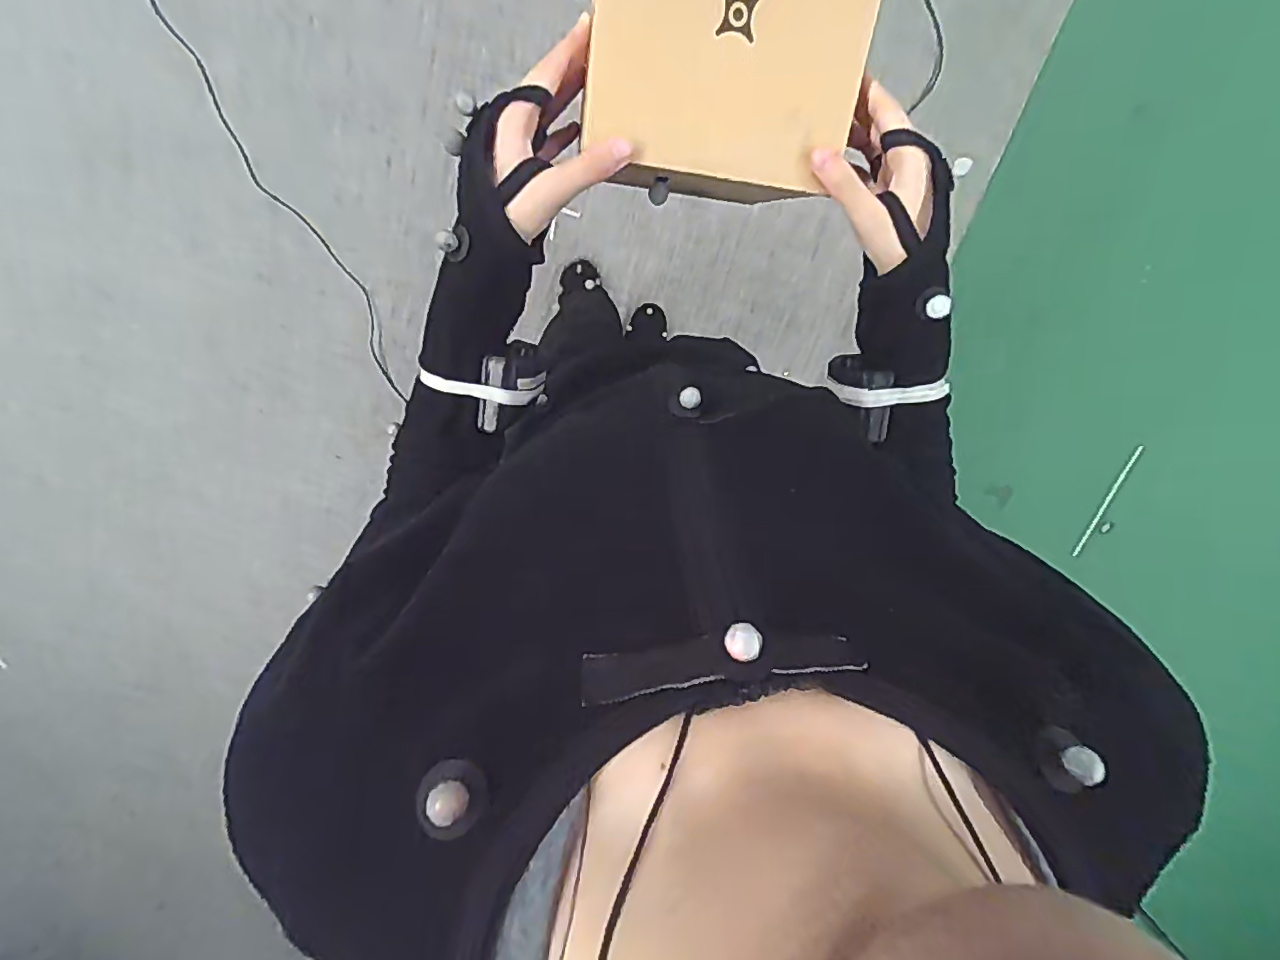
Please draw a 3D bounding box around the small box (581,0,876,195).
[{"bbox_3d":[0.048,-0.311,0.380,0.168,0.176,0.179,4,113,-9],"label":"small box"}]
